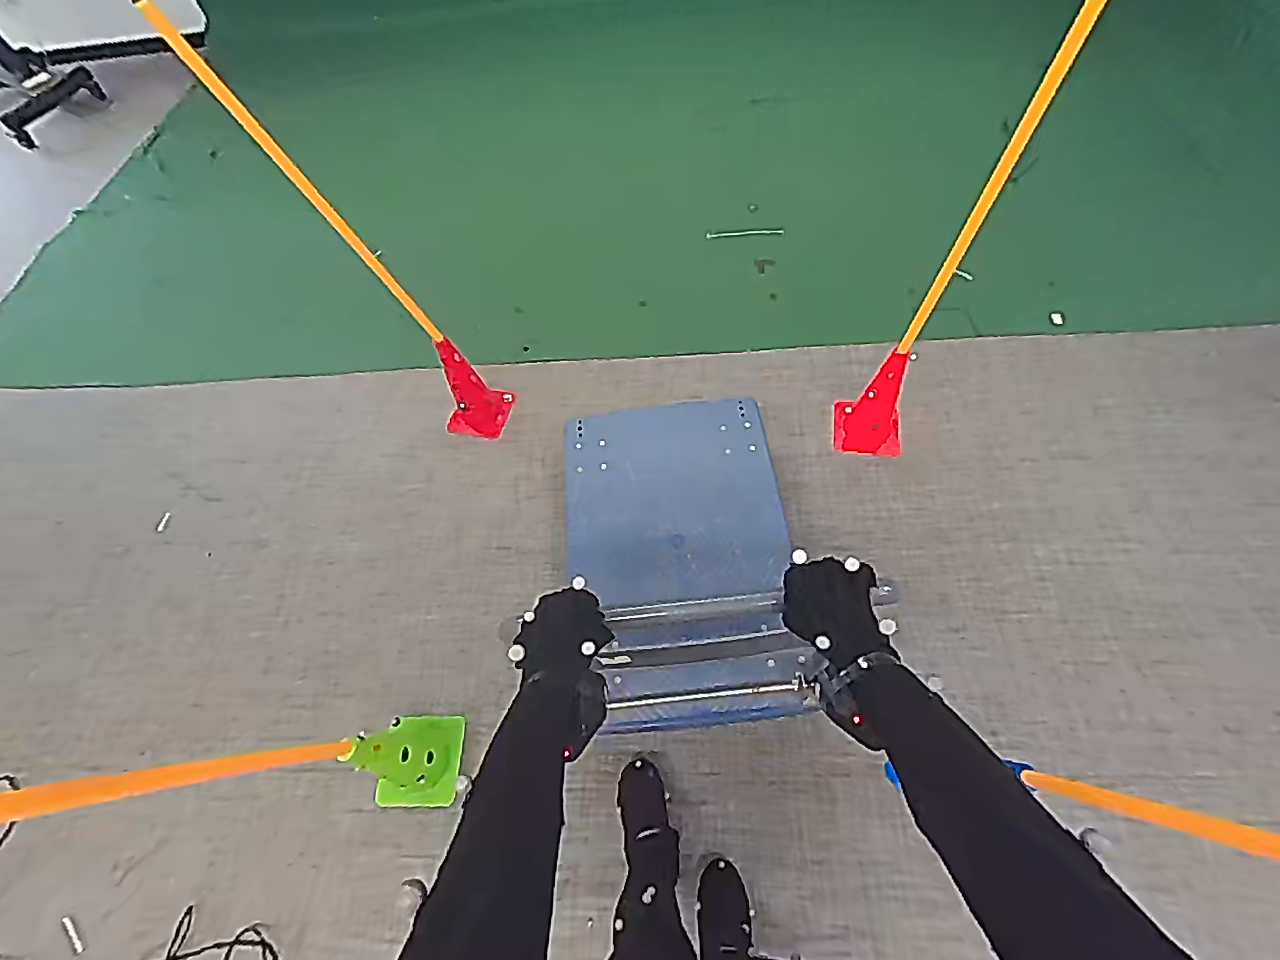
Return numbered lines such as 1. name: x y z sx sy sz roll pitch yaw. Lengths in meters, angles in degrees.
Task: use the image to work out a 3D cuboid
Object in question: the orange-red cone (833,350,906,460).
1. orange-red cone: 0.700 -0.239 1.567 0.198 0.360 0.199 7 62 11
